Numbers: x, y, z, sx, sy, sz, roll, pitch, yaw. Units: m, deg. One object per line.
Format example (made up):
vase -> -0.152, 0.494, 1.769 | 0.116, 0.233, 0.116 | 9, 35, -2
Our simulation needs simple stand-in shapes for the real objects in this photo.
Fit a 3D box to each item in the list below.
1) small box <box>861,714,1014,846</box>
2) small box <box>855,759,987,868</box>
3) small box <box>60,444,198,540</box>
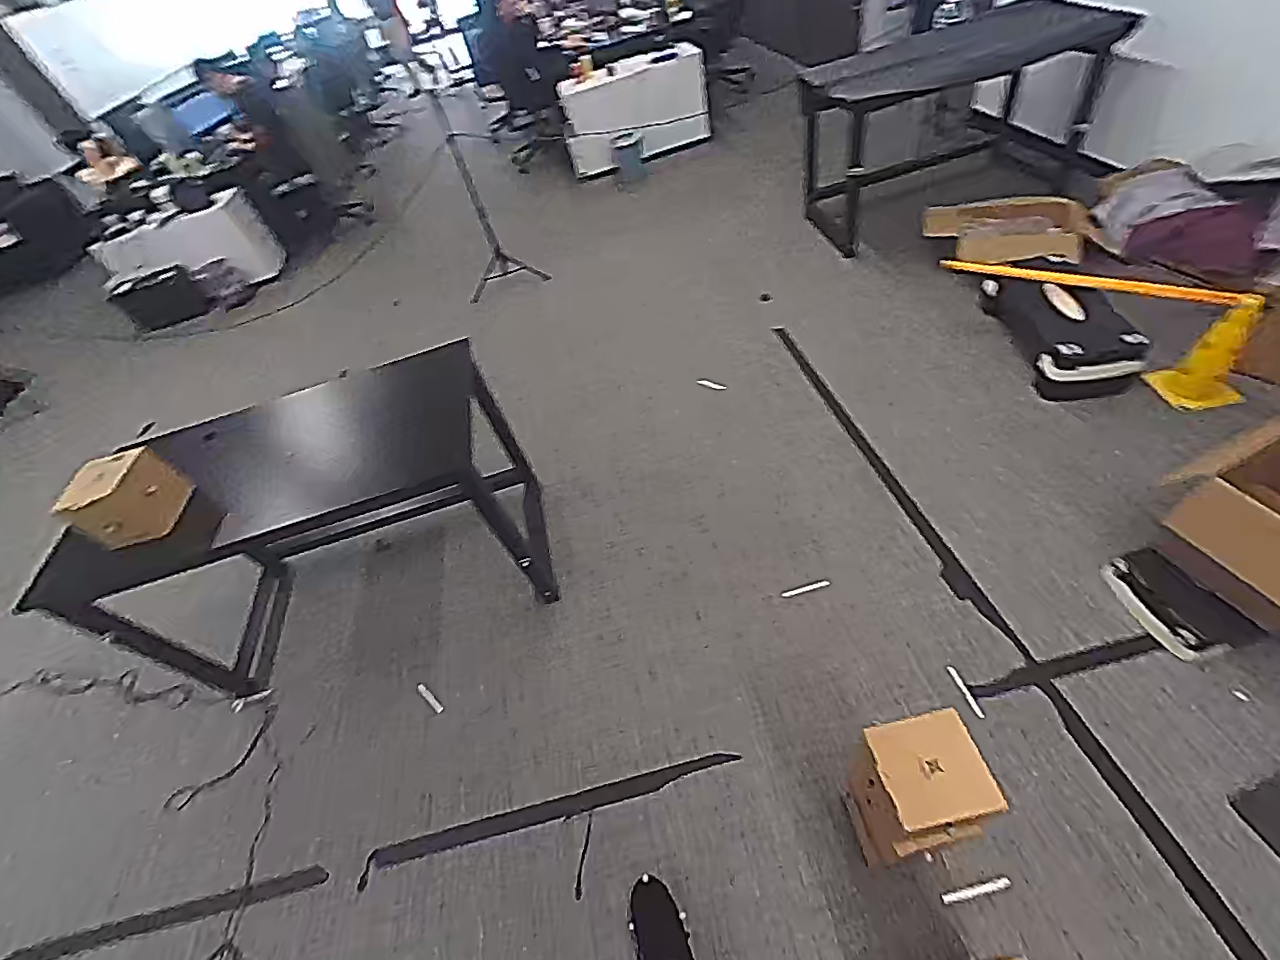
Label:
small box -> 0.529, 0.553, 0.992 | 0.179, 0.176, 0.168 | -15, 49, 3
small box -> 0.558, 0.665, 1.106 | 0.168, 0.176, 0.179 | -17, 49, 1
small box -> -1.327, 0.039, 1.422 | 0.168, 0.176, 0.179 | -14, 48, 4
